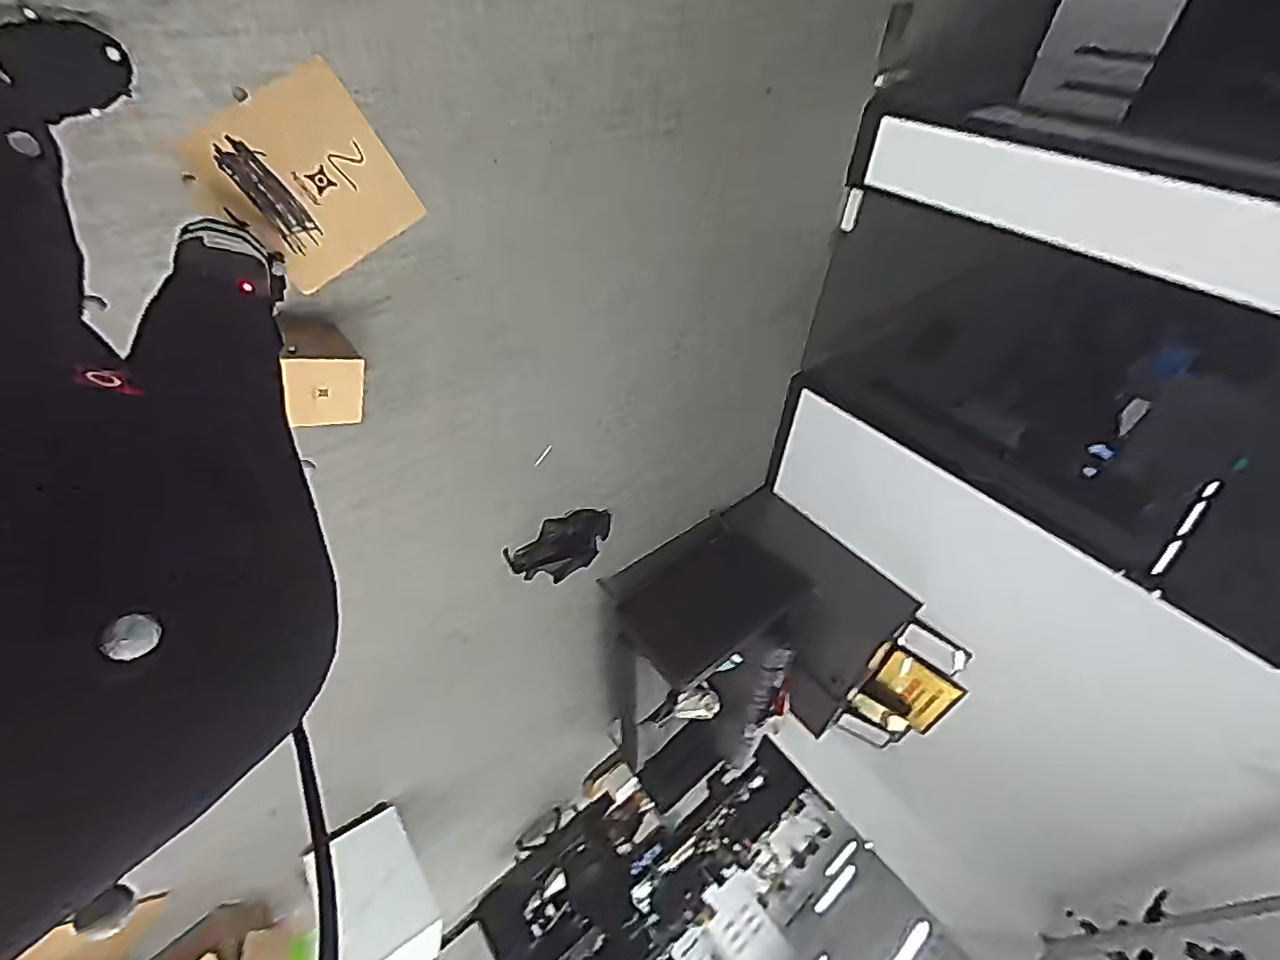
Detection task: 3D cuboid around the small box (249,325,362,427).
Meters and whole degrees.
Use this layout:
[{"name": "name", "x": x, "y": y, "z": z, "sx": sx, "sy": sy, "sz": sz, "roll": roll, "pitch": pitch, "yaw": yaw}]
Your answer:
[{"name": "small box", "x": -0.753, "y": -0.237, "z": 1.217, "sx": 0.179, "sy": 0.176, "sz": 0.168, "roll": -11, "pitch": 133, "yaw": -43}]
